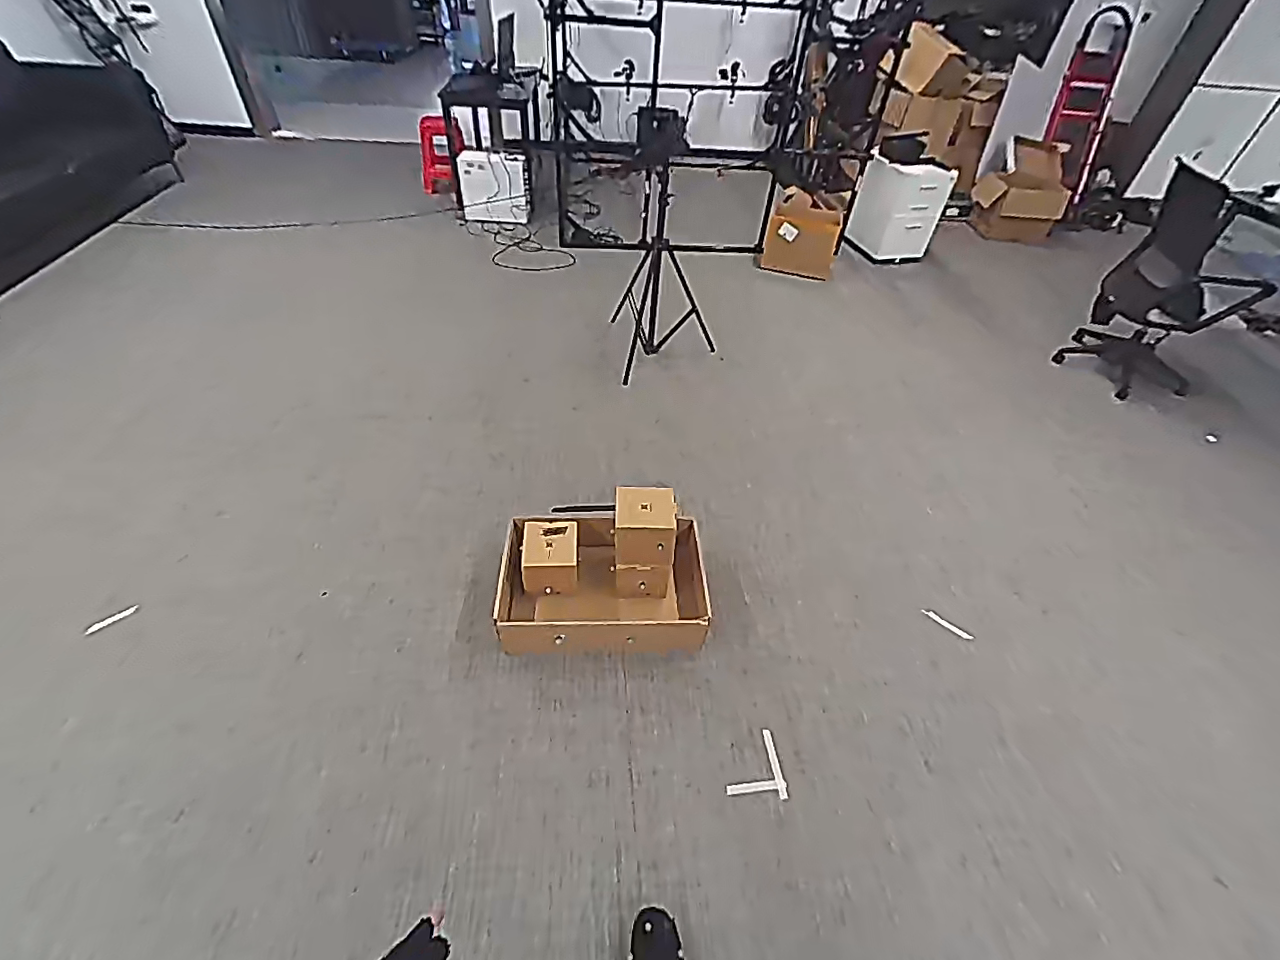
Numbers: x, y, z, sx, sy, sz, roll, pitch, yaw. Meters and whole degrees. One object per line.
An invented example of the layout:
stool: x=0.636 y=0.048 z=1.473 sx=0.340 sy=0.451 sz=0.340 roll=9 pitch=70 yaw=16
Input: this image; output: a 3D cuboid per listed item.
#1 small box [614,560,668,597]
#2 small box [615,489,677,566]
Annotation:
small box: x=0.004 y=0.265 z=1.735 sx=0.168 sy=0.176 sz=0.179 roll=-1 pitch=46 yaw=-1
small box: x=0.014 y=0.145 z=1.623 sx=0.179 sy=0.176 sz=0.168 roll=0 pitch=43 yaw=-2
